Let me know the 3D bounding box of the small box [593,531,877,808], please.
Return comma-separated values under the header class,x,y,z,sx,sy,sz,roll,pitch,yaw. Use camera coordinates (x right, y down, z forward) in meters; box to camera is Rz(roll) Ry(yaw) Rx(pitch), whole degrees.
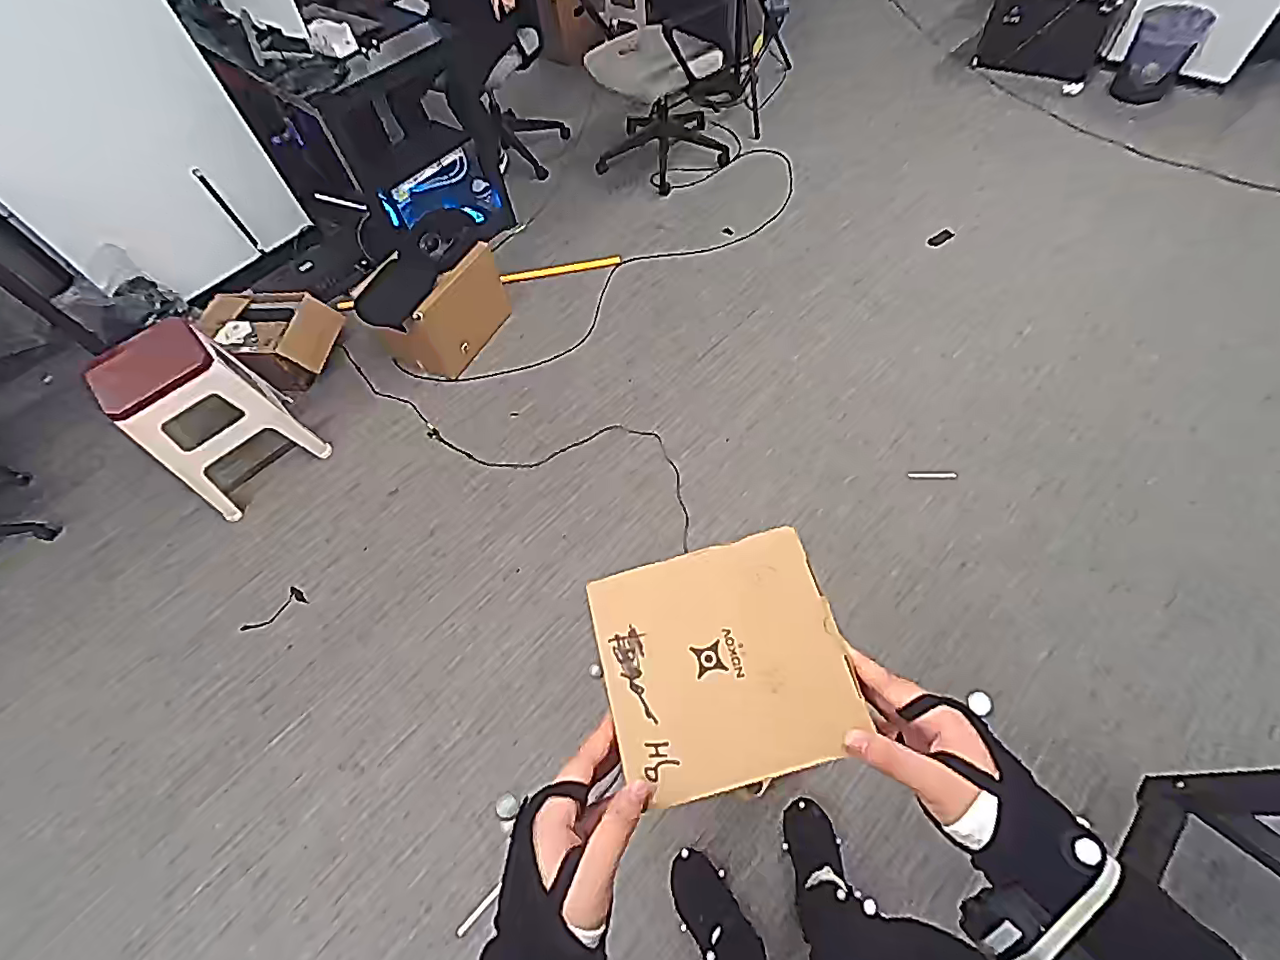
class,x,y,z,sx,sy,sz,roll,pitch,yaw
small box,0.070,0.166,0.474,0.179,0.176,0.168,-15,63,0
